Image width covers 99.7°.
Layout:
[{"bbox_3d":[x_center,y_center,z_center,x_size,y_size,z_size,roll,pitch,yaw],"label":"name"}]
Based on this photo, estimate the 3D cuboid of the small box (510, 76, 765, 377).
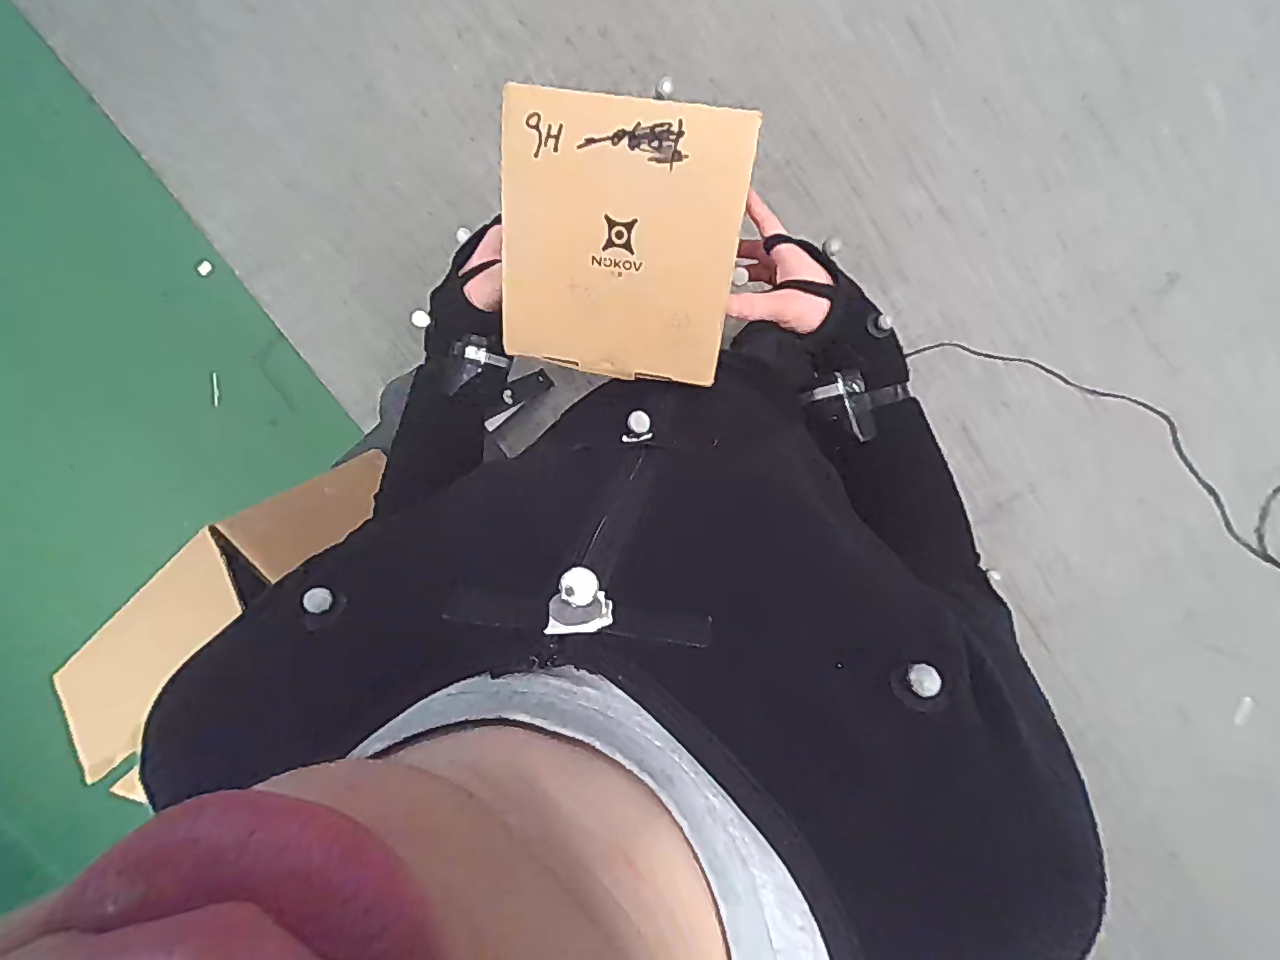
[{"bbox_3d":[0.001,-0.204,0.445,0.168,0.176,0.179,10,119,4],"label":"small box"}]
